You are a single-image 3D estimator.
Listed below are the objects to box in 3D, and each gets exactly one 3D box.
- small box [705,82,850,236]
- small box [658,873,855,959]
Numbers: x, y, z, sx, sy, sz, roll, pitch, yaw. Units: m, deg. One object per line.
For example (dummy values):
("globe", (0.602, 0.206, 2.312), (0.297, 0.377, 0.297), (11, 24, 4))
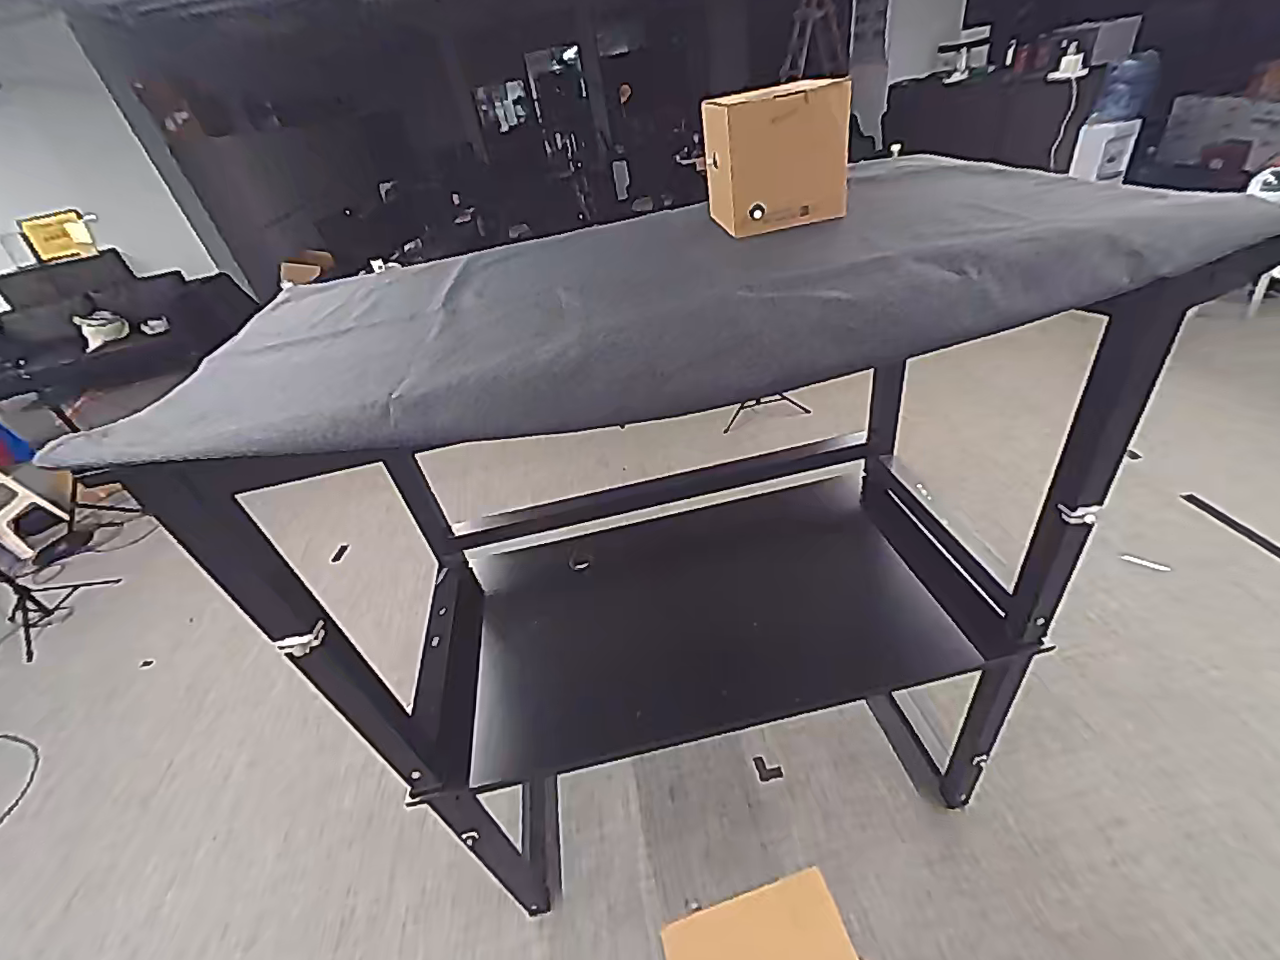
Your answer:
("small box", (0.200, -0.480, 0.815), (0.168, 0.176, 0.179), (-11, 36, 1))
("small box", (0.135, 0.530, 0.543), (0.179, 0.176, 0.168), (-20, 44, -3))
